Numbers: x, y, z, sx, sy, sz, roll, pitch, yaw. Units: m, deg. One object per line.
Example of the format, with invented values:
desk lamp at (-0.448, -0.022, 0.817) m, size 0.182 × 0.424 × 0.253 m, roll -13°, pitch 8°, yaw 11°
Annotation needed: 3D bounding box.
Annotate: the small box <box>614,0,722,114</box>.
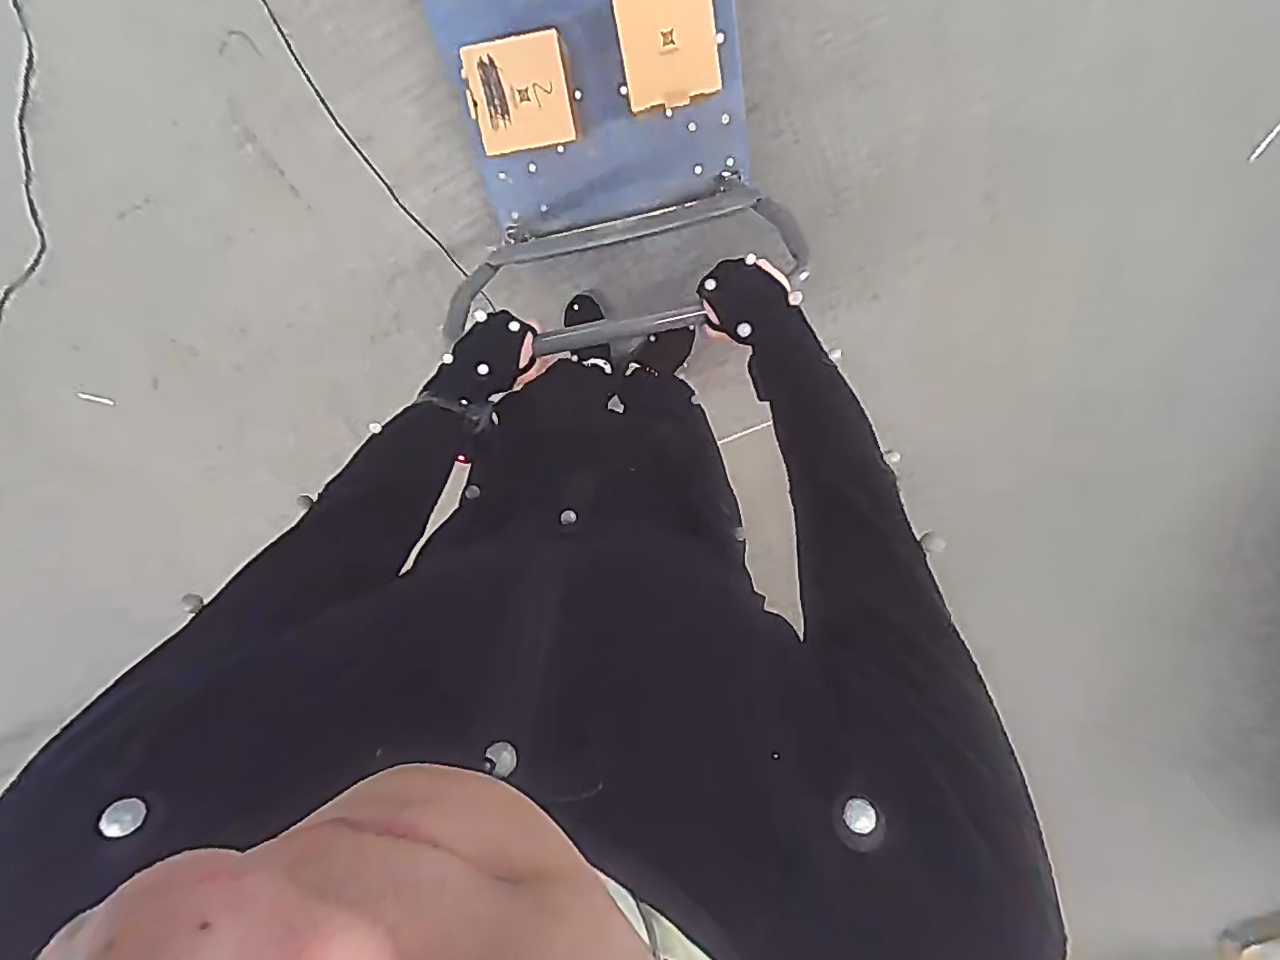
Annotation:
small box at (0.048, -0.802, 0.999) m, size 0.168 × 0.176 × 0.179 m, roll -11°, pitch 121°, yaw 6°
